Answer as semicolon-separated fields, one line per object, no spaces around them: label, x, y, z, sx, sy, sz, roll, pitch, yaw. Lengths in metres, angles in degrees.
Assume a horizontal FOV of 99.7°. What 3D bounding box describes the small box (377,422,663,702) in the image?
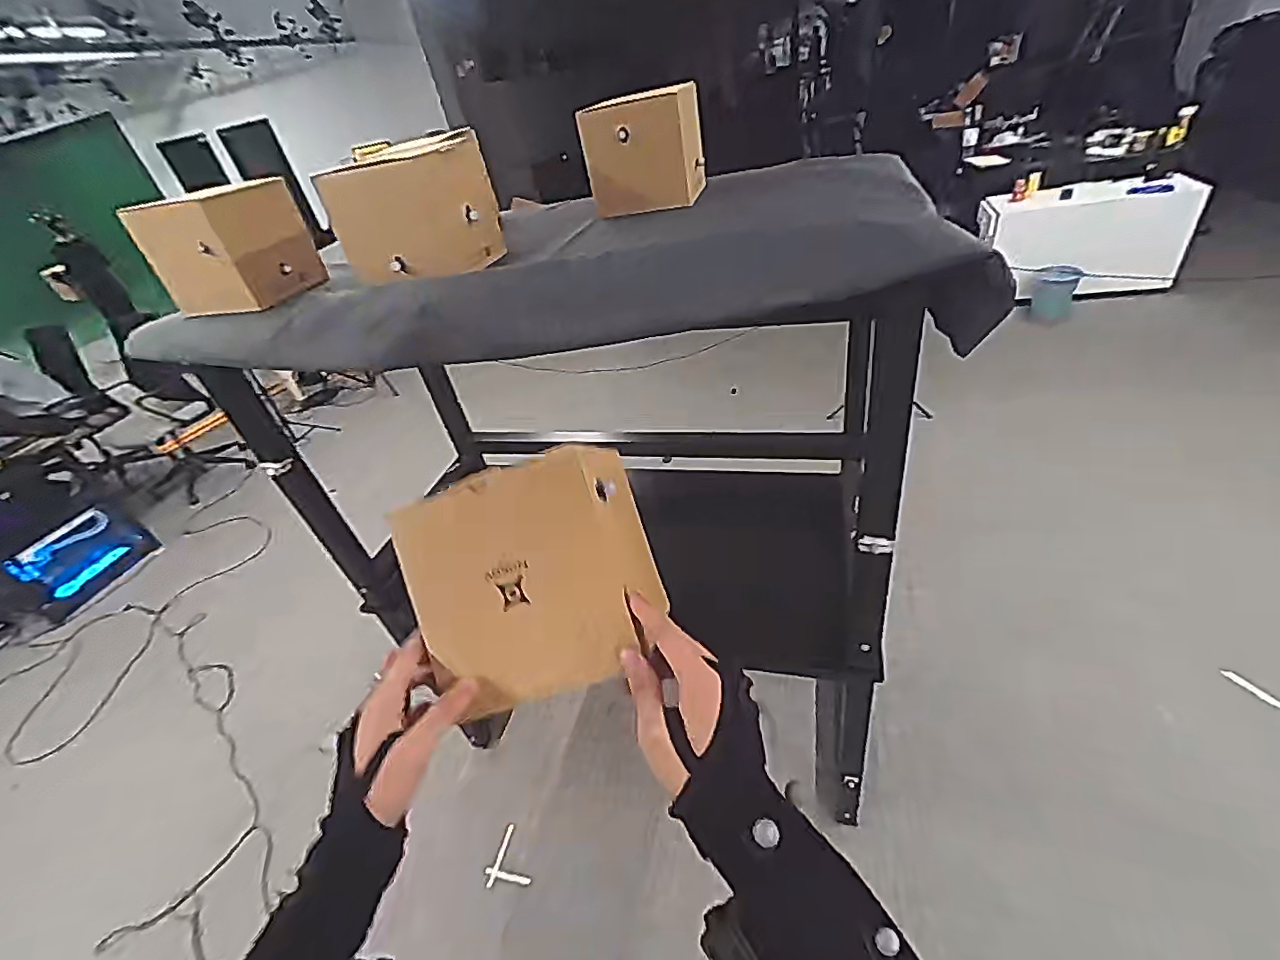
small box;-0.086;0.060;0.477;0.168;0.179;0.176;-19;-2;9

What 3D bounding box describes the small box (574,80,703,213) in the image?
small box;0.007;-0.589;0.964;0.179;0.176;0.168;1;39;18

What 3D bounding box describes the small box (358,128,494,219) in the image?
small box;-0.411;-0.582;1.080;0.168;0.176;0.179;-4;37;13

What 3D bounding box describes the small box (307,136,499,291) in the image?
small box;-0.338;-0.397;0.813;0.179;0.176;0.168;1;37;17
